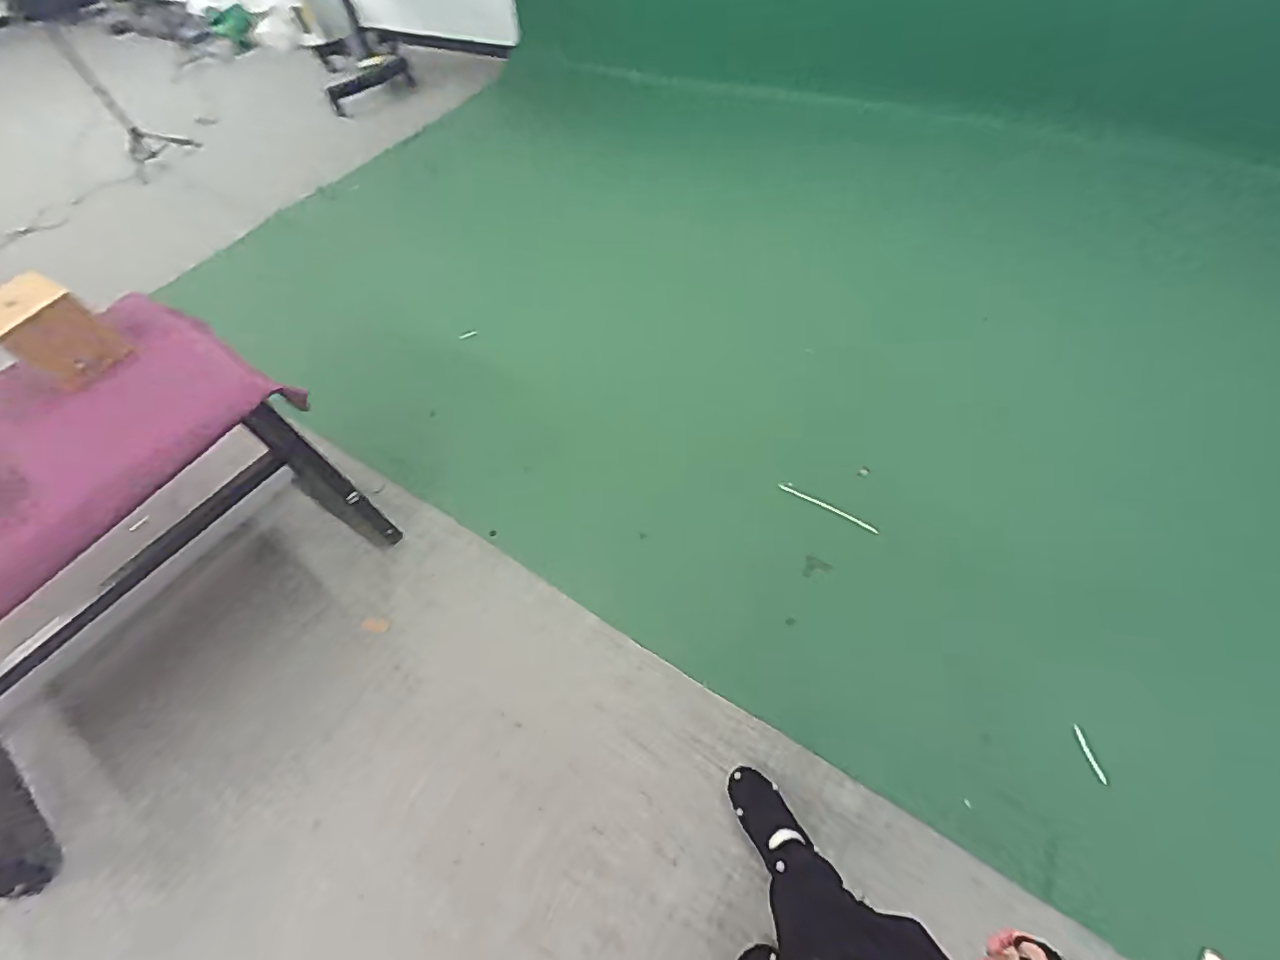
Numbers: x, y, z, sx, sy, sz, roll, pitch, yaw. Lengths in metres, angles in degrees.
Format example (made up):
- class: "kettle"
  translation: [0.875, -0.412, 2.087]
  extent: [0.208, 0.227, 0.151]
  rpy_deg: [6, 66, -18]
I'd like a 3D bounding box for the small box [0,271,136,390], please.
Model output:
- class: "small box"
  translation: [-1.299, -0.327, 1.199]
  extent: [0.179, 0.176, 0.168]
  rpy_deg: [25, 64, 20]
